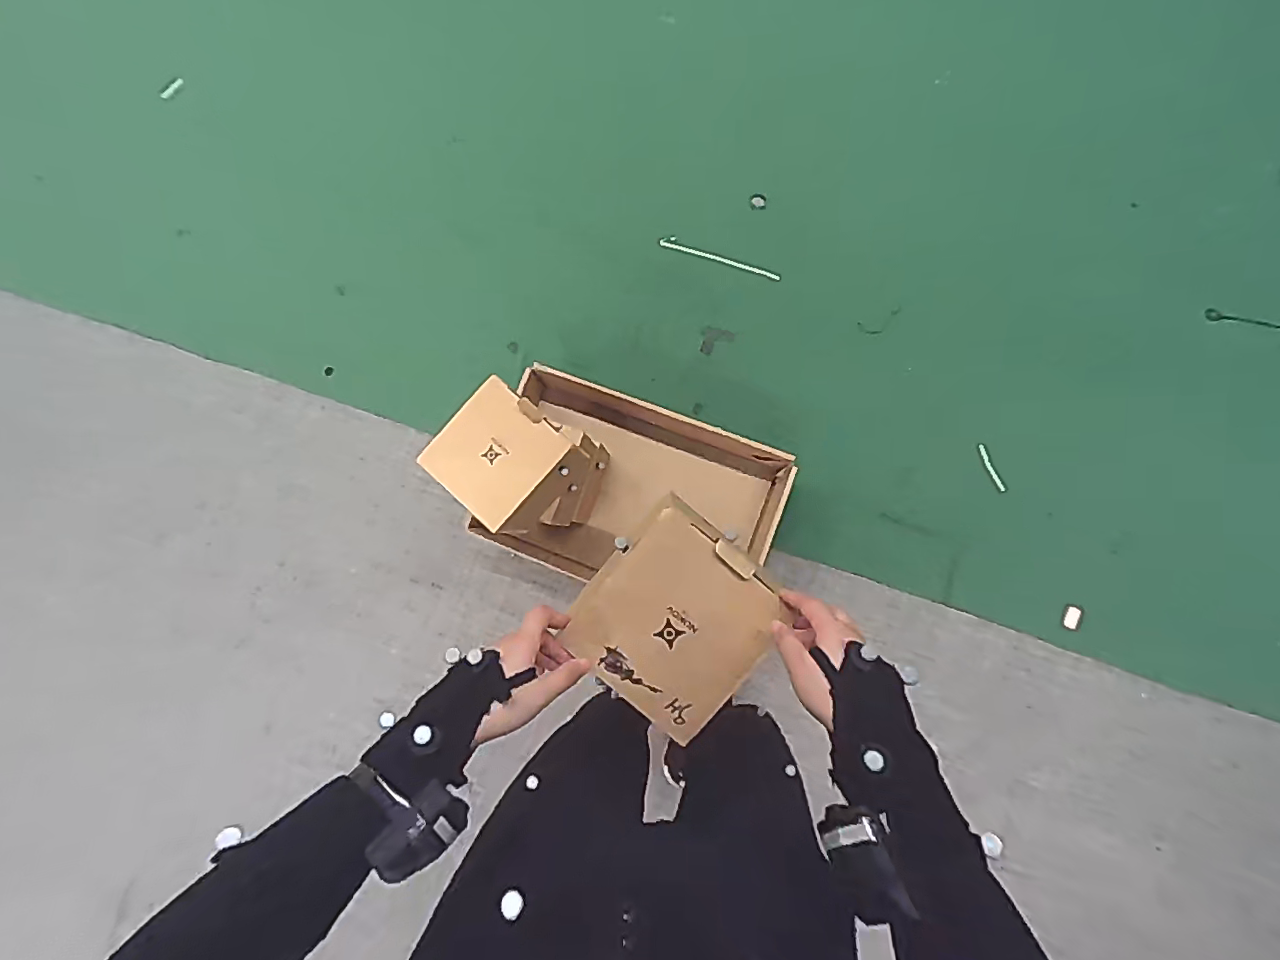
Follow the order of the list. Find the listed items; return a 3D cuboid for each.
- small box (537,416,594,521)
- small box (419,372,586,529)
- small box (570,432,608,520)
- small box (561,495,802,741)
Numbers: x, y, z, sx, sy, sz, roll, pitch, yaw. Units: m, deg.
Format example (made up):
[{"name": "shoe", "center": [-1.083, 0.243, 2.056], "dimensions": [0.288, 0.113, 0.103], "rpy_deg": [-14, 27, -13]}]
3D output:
[{"name": "small box", "center": [-0.195, -0.028, 1.027], "dimensions": [0.168, 0.176, 0.179], "rpy_deg": [20, 85, 4]}, {"name": "small box", "center": [-0.205, -0.036, 0.865], "dimensions": [0.168, 0.176, 0.179], "rpy_deg": [42, 87, 6]}, {"name": "small box", "center": [-0.176, -0.021, 1.189], "dimensions": [0.168, 0.176, 0.179], "rpy_deg": [19, 85, 5]}, {"name": "small box", "center": [0.041, 0.130, 0.591], "dimensions": [0.168, 0.176, 0.179], "rpy_deg": [40, 93, 1]}]
